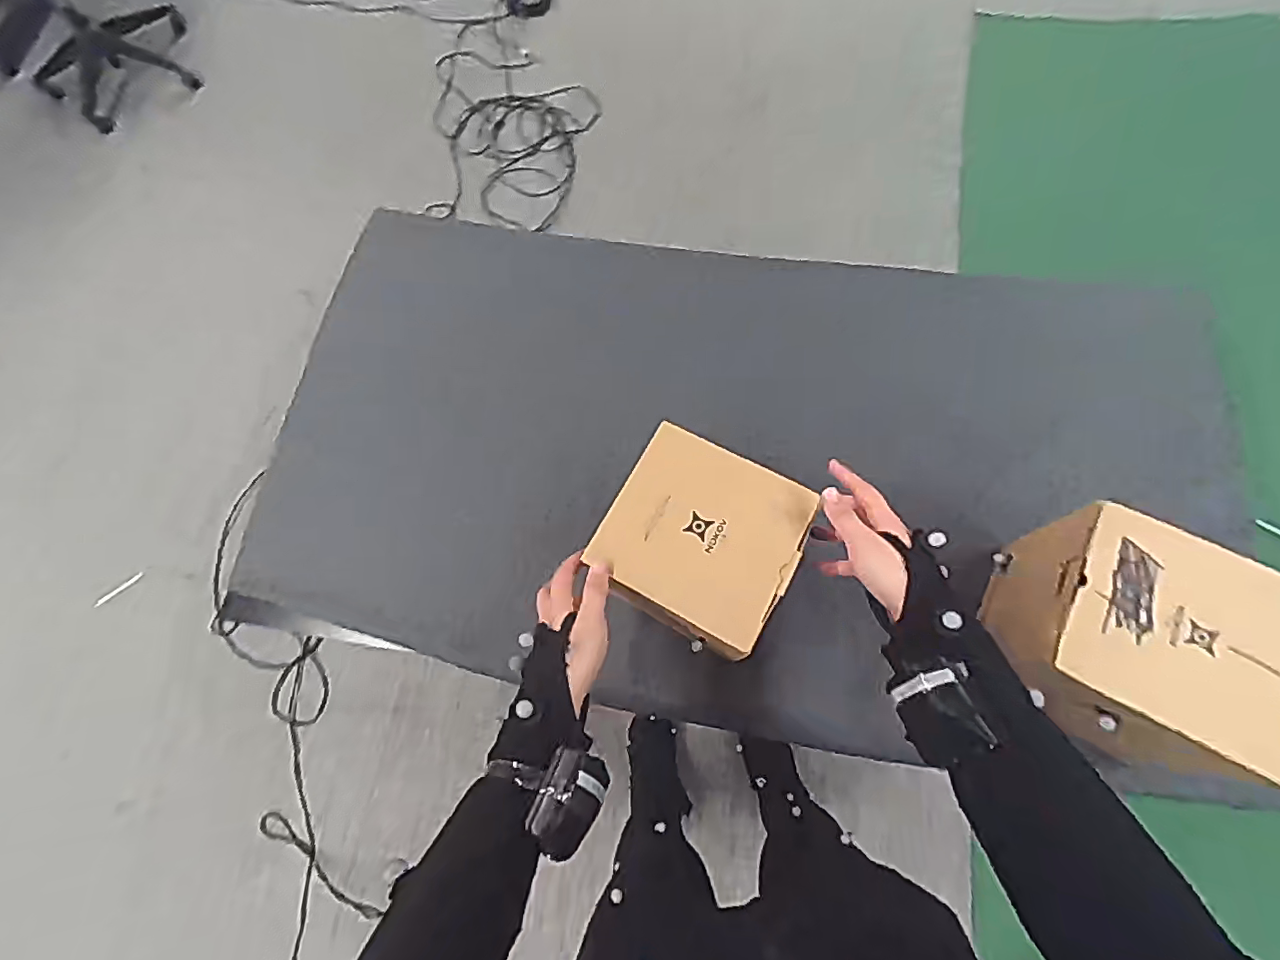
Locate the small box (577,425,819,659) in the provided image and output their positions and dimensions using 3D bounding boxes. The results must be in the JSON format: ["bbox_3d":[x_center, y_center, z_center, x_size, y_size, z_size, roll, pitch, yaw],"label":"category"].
[{"bbox_3d":[0.062,0.075,0.577,0.179,0.176,0.168,26,74,15],"label":"small box"}]

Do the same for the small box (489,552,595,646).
[{"bbox_3d":[-0.227,0.294,1.305,0.179,0.176,0.168,19,75,11],"label":"small box"}]

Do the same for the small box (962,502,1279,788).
[{"bbox_3d":[0.445,0.151,0.508,0.179,0.176,0.168,28,75,15],"label":"small box"}]
